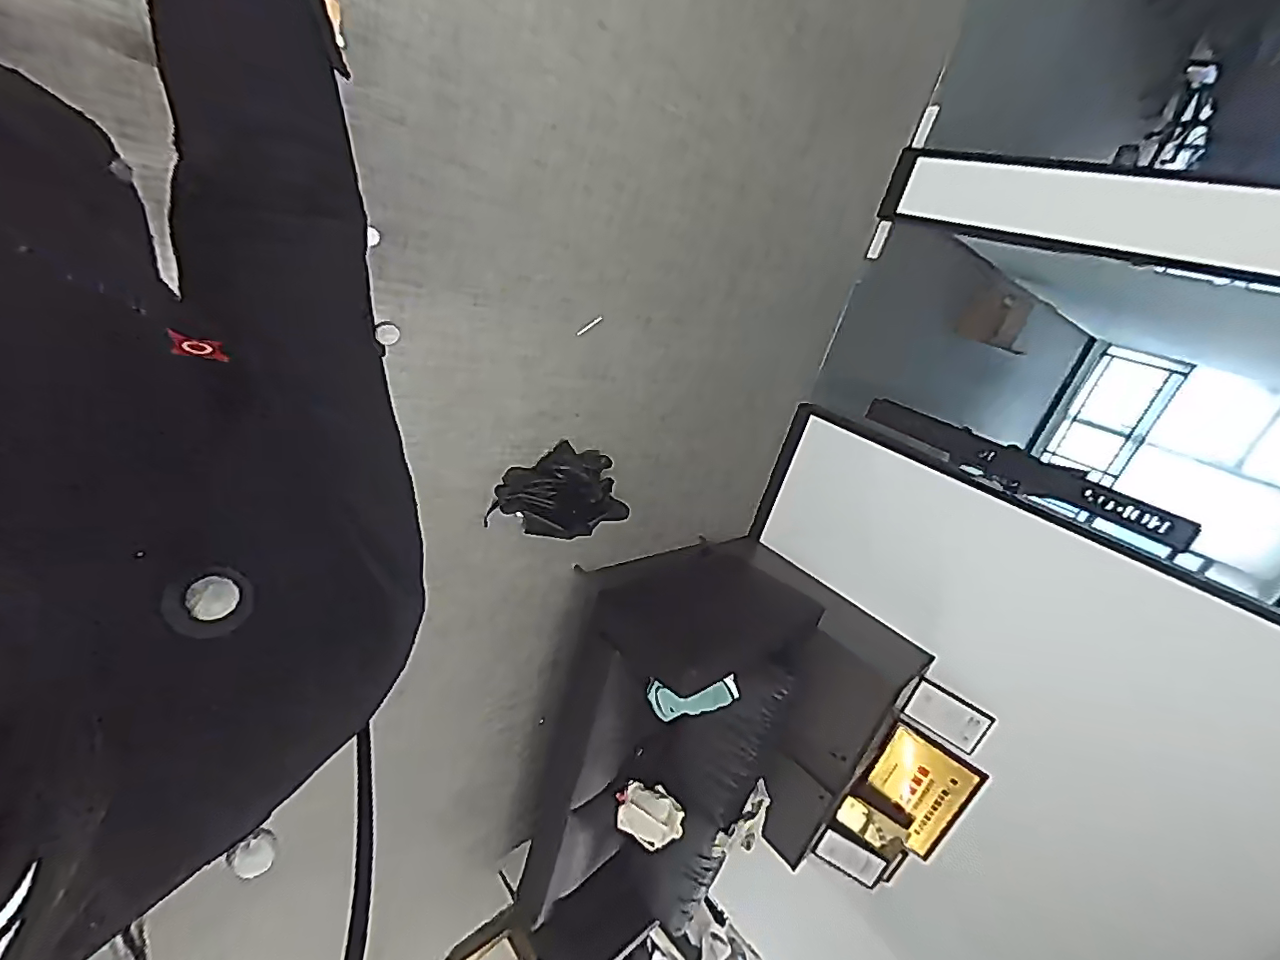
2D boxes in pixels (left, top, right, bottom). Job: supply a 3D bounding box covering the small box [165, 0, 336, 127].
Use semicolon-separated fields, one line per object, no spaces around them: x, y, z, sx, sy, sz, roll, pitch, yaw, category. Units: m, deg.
-0.557;-0.637;0.769;0.168;0.176;0.179;-2;119;-46;small box
